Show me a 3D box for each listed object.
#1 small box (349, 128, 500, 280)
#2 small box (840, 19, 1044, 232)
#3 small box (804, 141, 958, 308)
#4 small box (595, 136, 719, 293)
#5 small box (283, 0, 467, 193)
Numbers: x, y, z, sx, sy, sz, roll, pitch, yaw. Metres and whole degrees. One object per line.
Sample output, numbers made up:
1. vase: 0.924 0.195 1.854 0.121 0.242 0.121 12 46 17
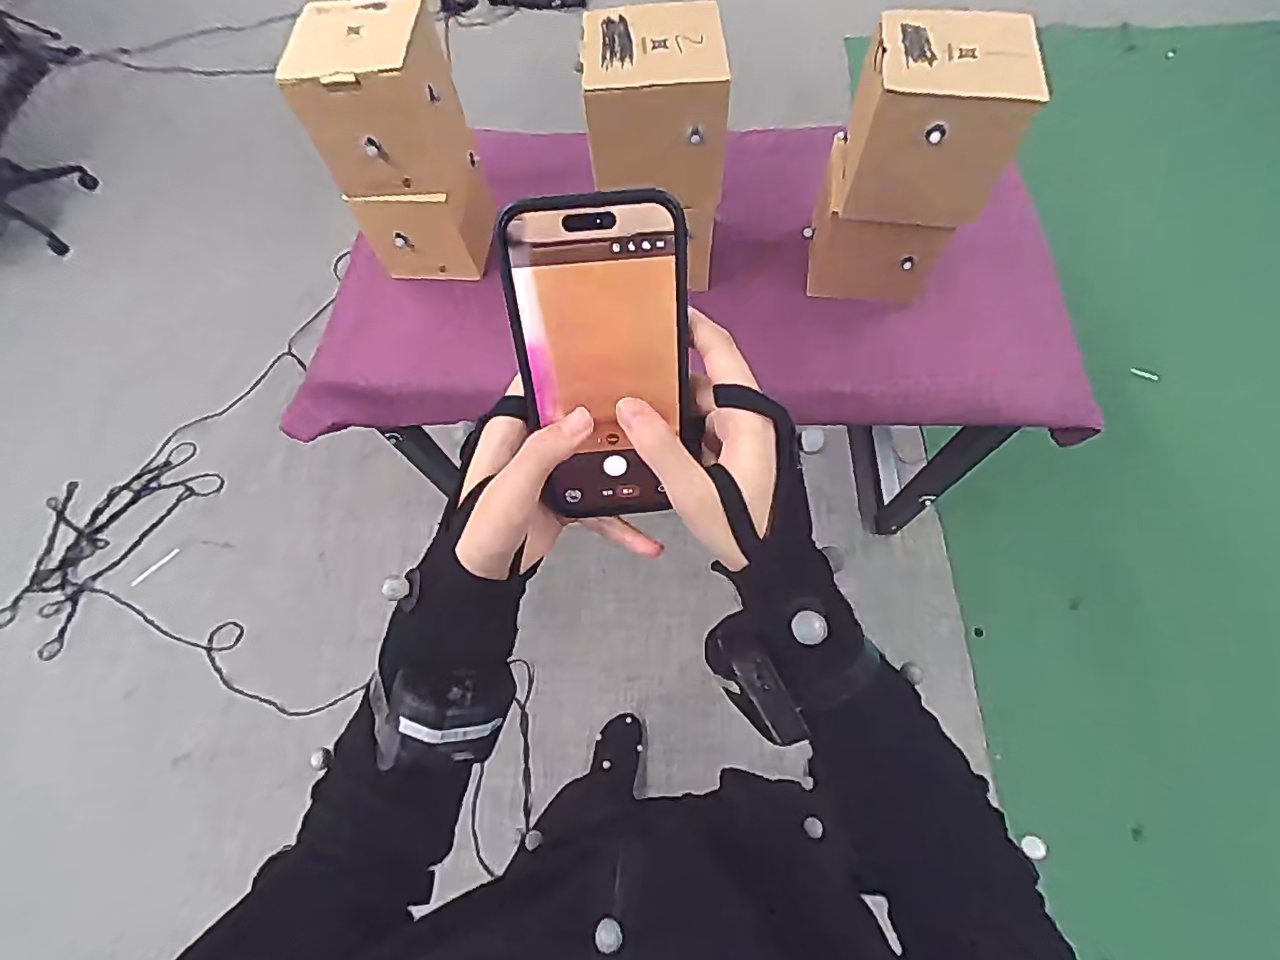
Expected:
1. small box: -0.354 -0.465 0.927 0.168 0.176 0.179 4 66 5
2. small box: 0.367 -0.445 0.692 0.179 0.176 0.168 9 67 7
3. small box: 0.369 -0.393 0.848 0.179 0.176 0.168 9 66 8
4. small box: 0.032 -0.425 0.883 0.179 0.176 0.168 3 66 5
5. small box: -0.363 -0.540 0.781 0.168 0.176 0.179 -1 67 3
